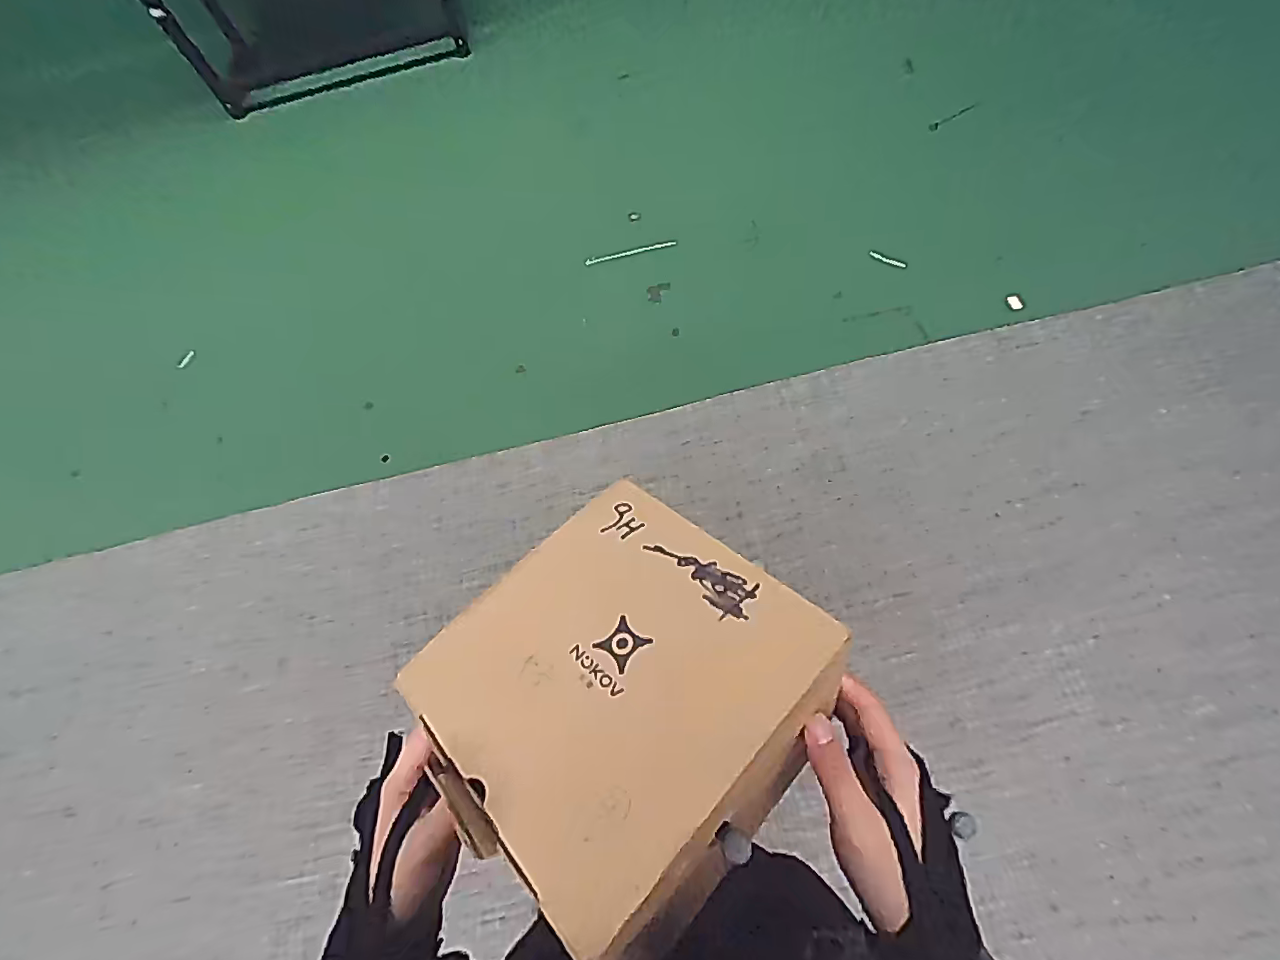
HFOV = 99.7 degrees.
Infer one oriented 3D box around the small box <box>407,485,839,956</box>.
[{"bbox_3d":[0.002,0.144,0.339,0.179,0.176,0.168,-42,53,-20],"label":"small box"}]
